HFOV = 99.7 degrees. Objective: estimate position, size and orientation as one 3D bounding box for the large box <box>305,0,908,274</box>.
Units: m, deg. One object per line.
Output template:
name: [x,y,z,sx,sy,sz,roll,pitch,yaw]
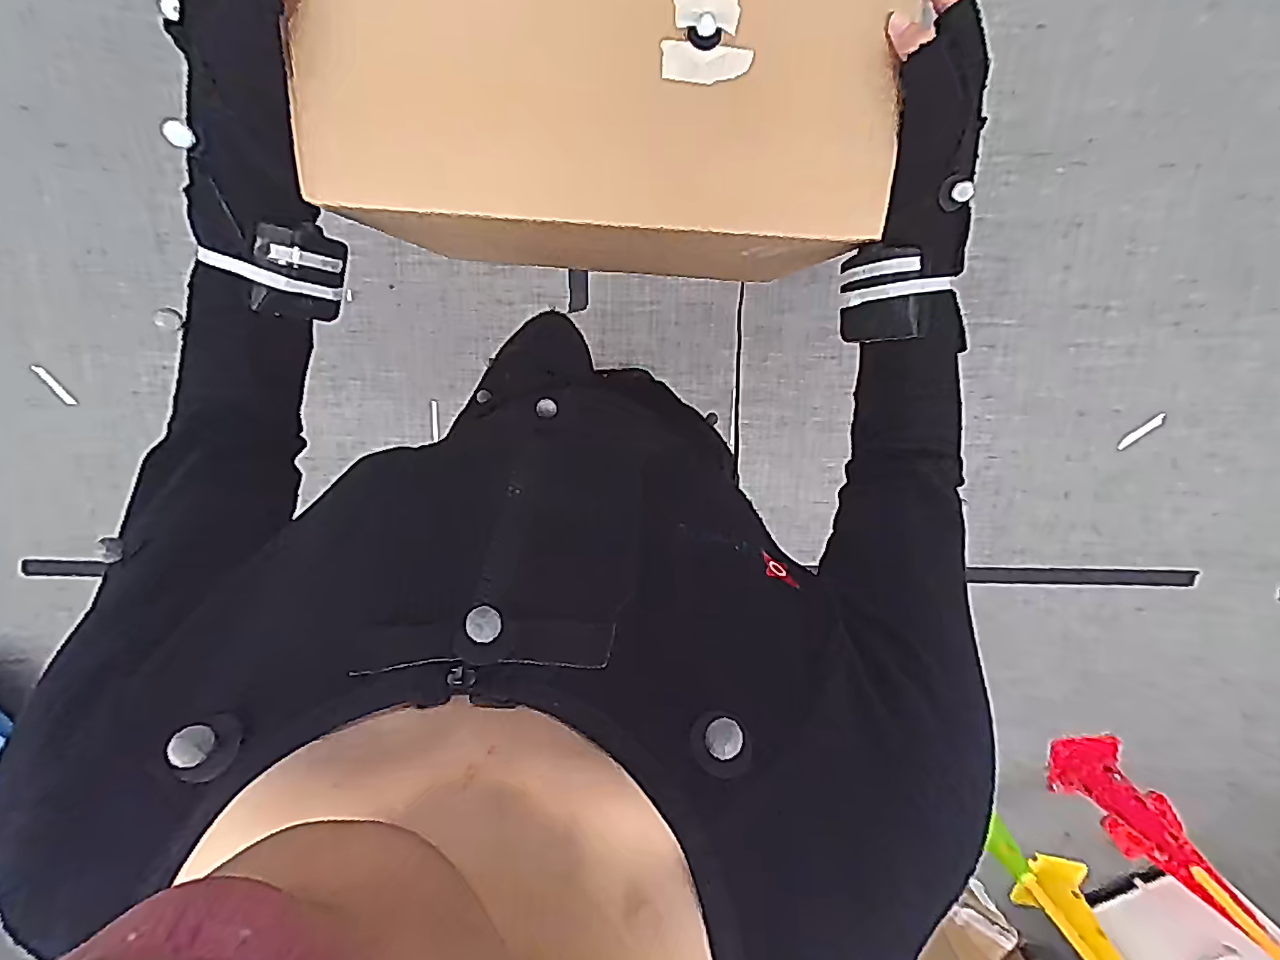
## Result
large box: [-0.023,-0.377,0.494,0.408,0.320,0.320,3,105,-2]
